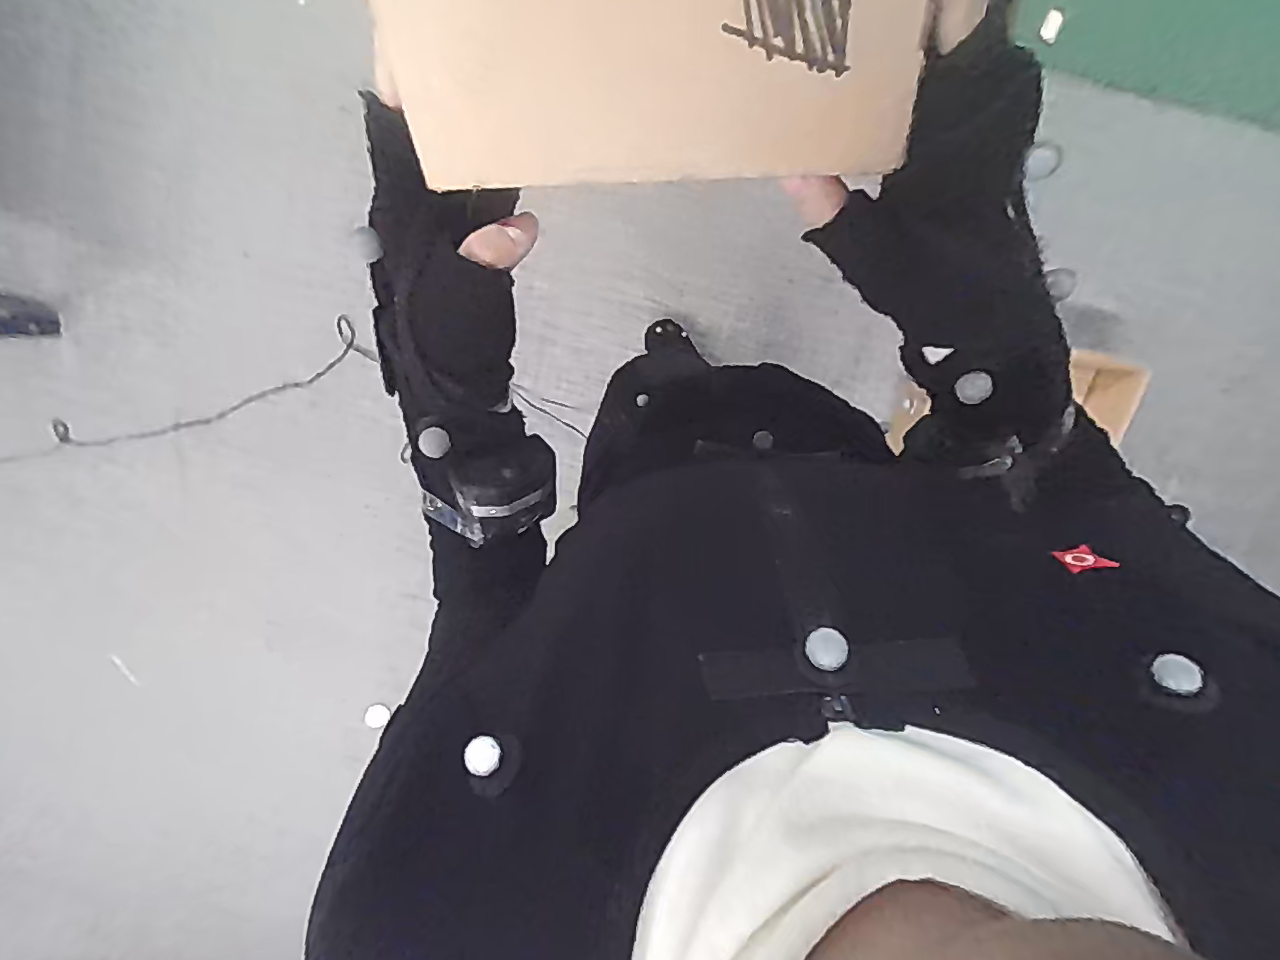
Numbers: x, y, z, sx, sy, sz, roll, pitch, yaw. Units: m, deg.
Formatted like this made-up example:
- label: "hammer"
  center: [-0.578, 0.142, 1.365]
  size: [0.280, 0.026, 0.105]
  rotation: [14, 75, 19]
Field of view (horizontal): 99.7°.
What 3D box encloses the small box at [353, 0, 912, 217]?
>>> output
- label: "small box"
  center: [0.002, -0.221, 0.206]
  size: [0.179, 0.176, 0.168]
  rotation: [1, 133, 14]
